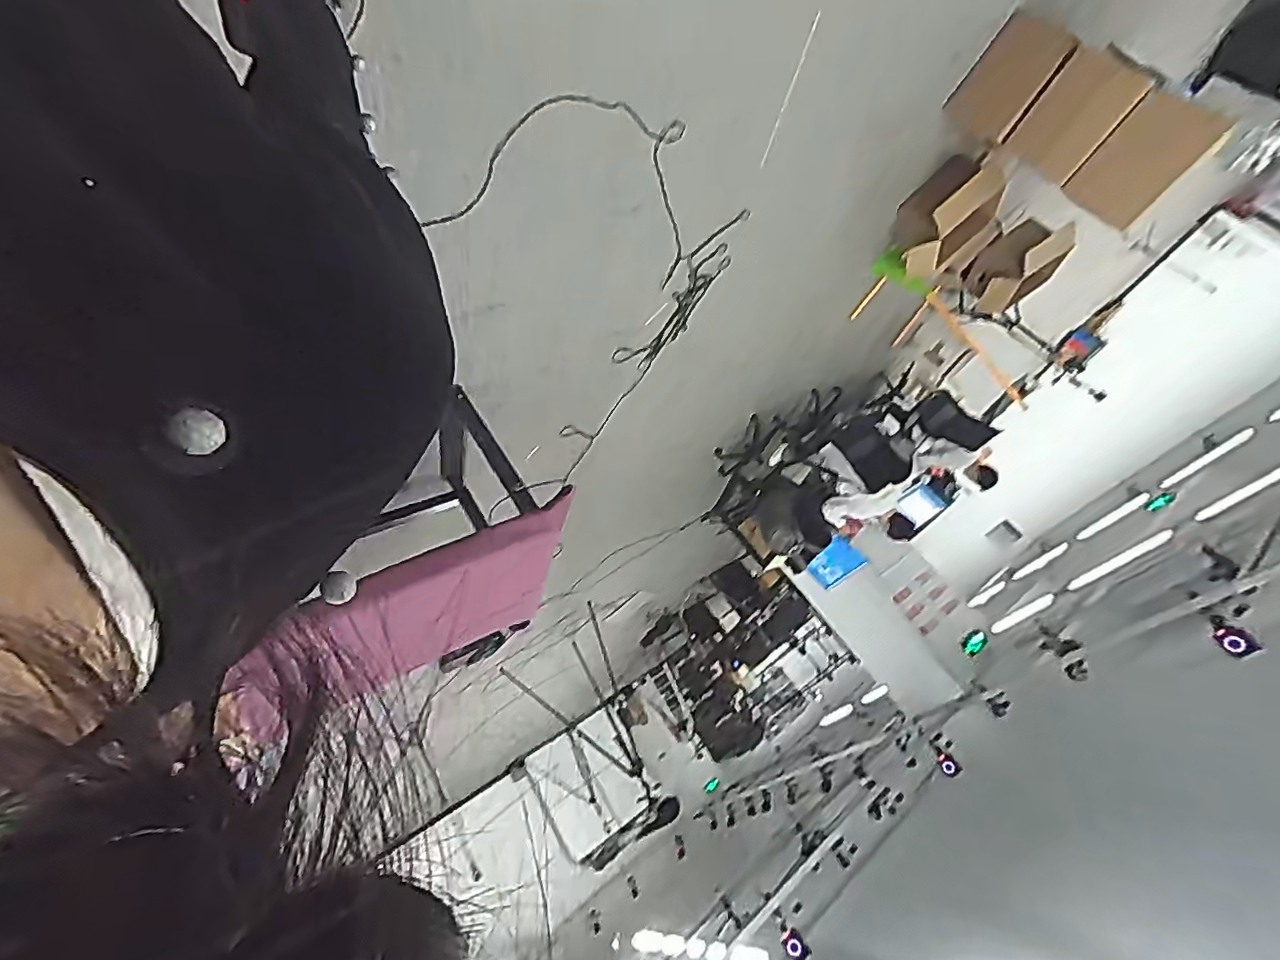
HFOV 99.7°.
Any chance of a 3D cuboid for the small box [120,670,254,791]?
[{"bbox_3d":[-1.022,0.562,1.226,0.179,0.176,0.168,-23,152,-31],"label":"small box"}]
